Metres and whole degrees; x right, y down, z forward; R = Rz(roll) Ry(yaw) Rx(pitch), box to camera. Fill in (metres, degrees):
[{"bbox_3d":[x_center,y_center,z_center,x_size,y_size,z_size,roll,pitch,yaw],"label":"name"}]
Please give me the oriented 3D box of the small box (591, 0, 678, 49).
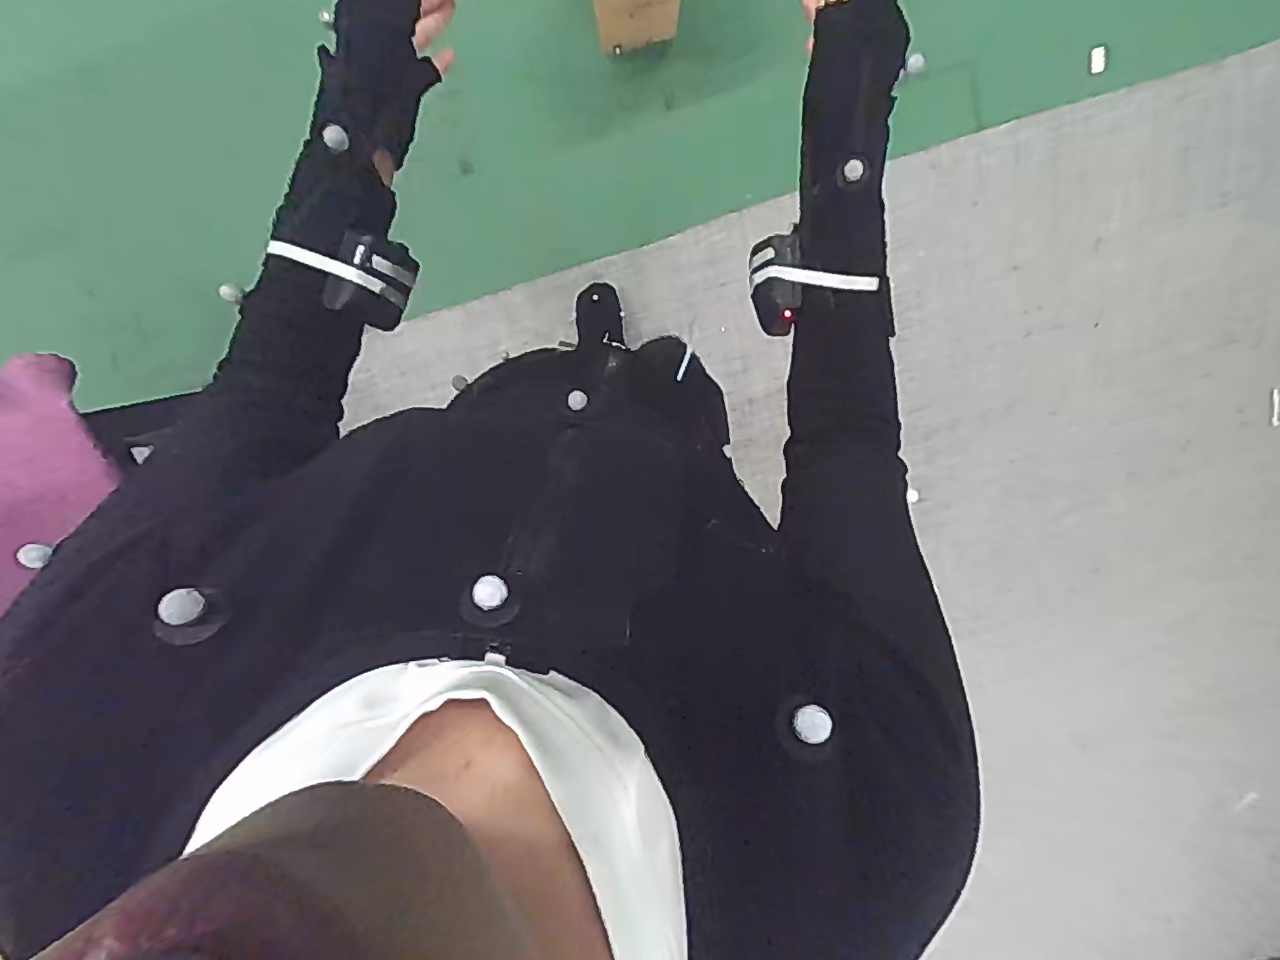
[{"bbox_3d":[-0.020,-1.014,1.093,0.168,0.176,0.179,-15,108,3],"label":"small box"}]
